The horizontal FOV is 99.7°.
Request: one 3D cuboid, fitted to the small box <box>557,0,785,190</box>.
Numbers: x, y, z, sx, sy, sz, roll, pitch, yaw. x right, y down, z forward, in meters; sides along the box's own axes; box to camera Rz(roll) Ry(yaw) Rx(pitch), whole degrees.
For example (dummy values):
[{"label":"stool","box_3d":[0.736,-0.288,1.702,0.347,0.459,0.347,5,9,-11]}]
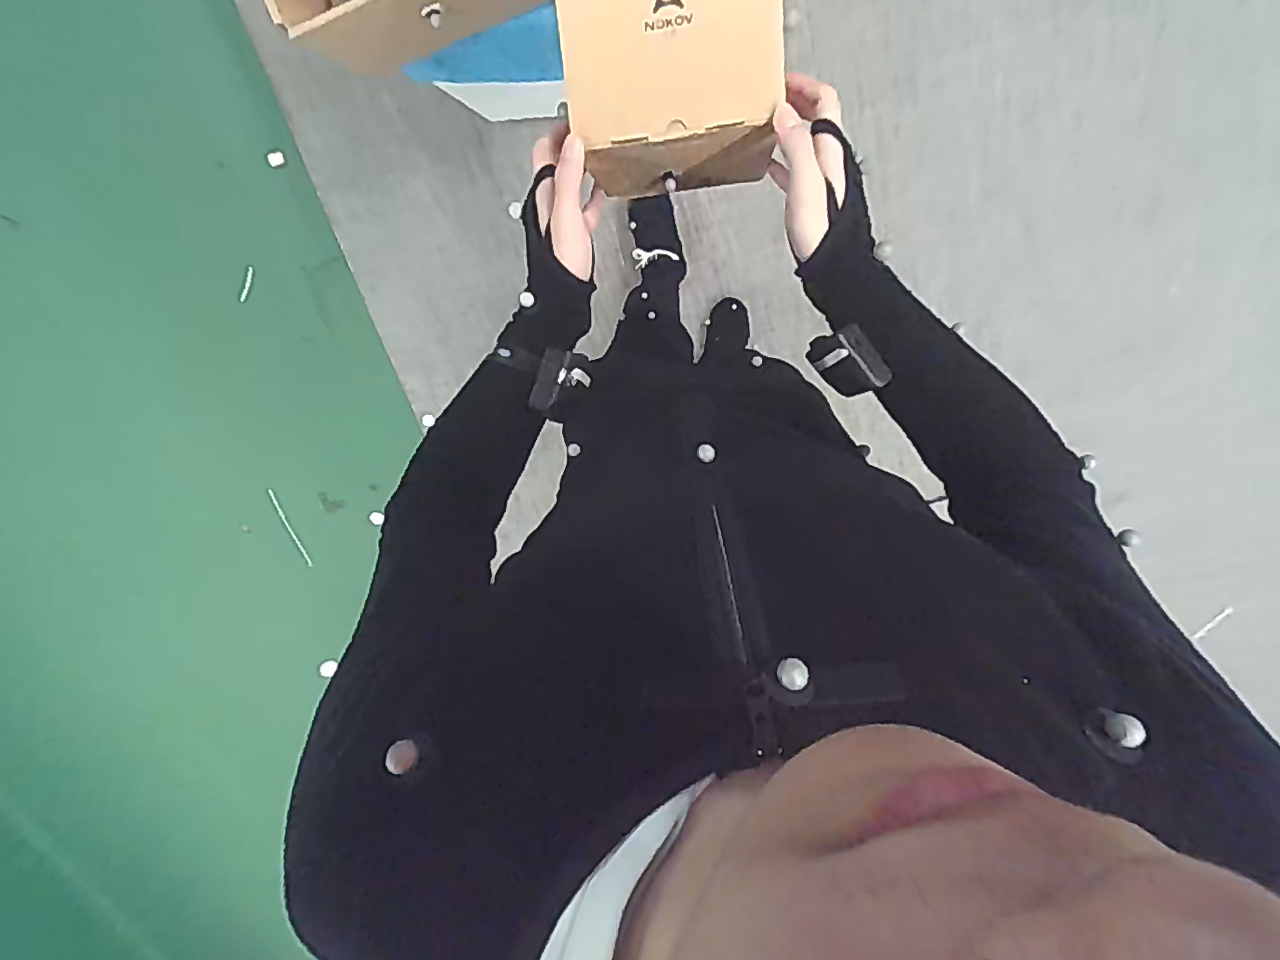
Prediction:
[{"label":"small box","box_3d":[0.028,-0.374,0.466,0.168,0.176,0.179,-4,106,8]}]
